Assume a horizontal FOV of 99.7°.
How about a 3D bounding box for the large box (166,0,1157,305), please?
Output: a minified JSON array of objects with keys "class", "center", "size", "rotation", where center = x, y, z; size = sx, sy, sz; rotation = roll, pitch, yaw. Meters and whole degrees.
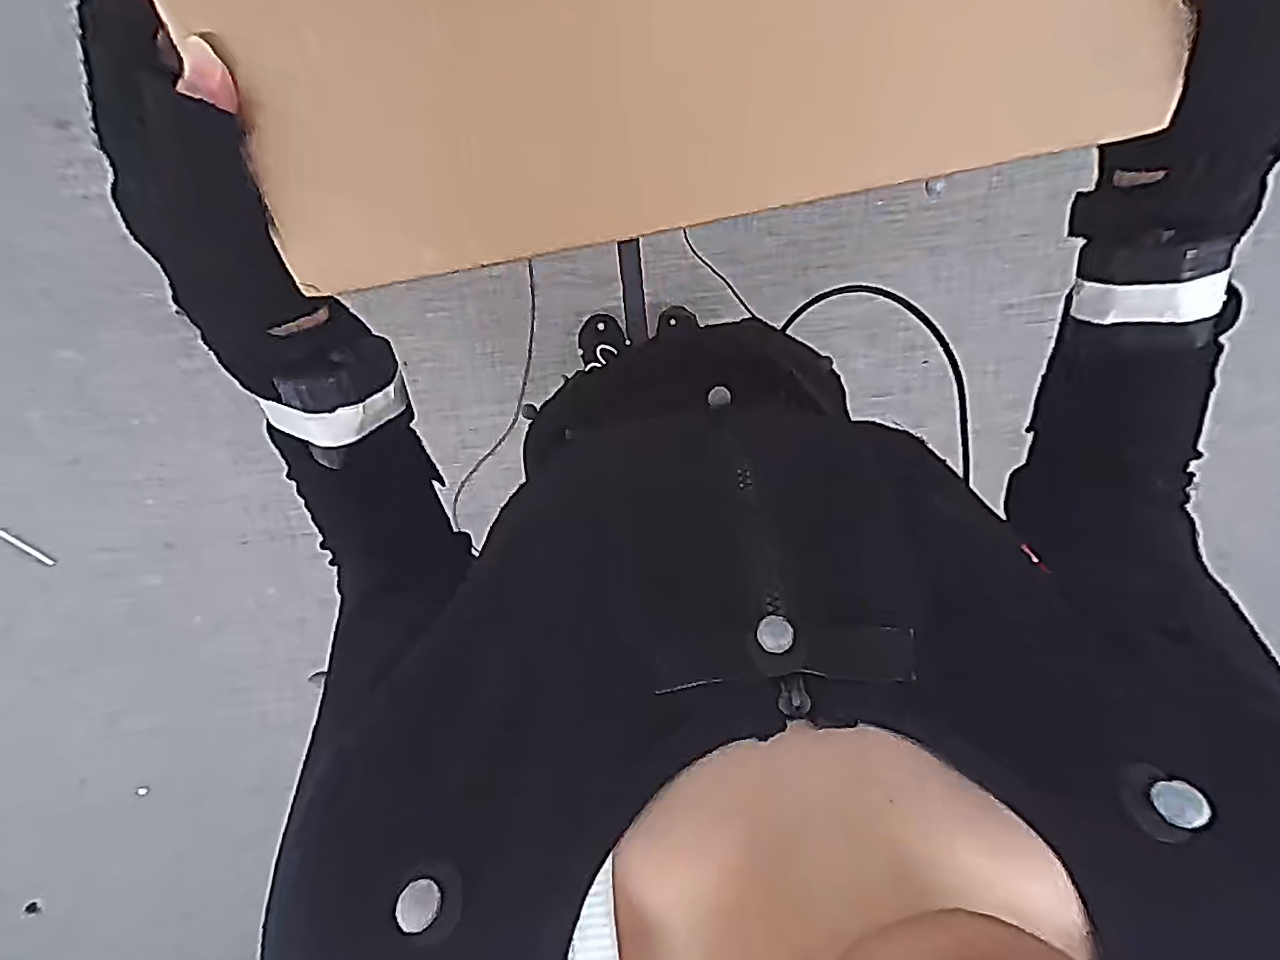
[{"class":"large box","center":[-0.001,-0.330,0.308],"size":[0.408,0.320,0.320],"rotation":[-10,121,2]}]
